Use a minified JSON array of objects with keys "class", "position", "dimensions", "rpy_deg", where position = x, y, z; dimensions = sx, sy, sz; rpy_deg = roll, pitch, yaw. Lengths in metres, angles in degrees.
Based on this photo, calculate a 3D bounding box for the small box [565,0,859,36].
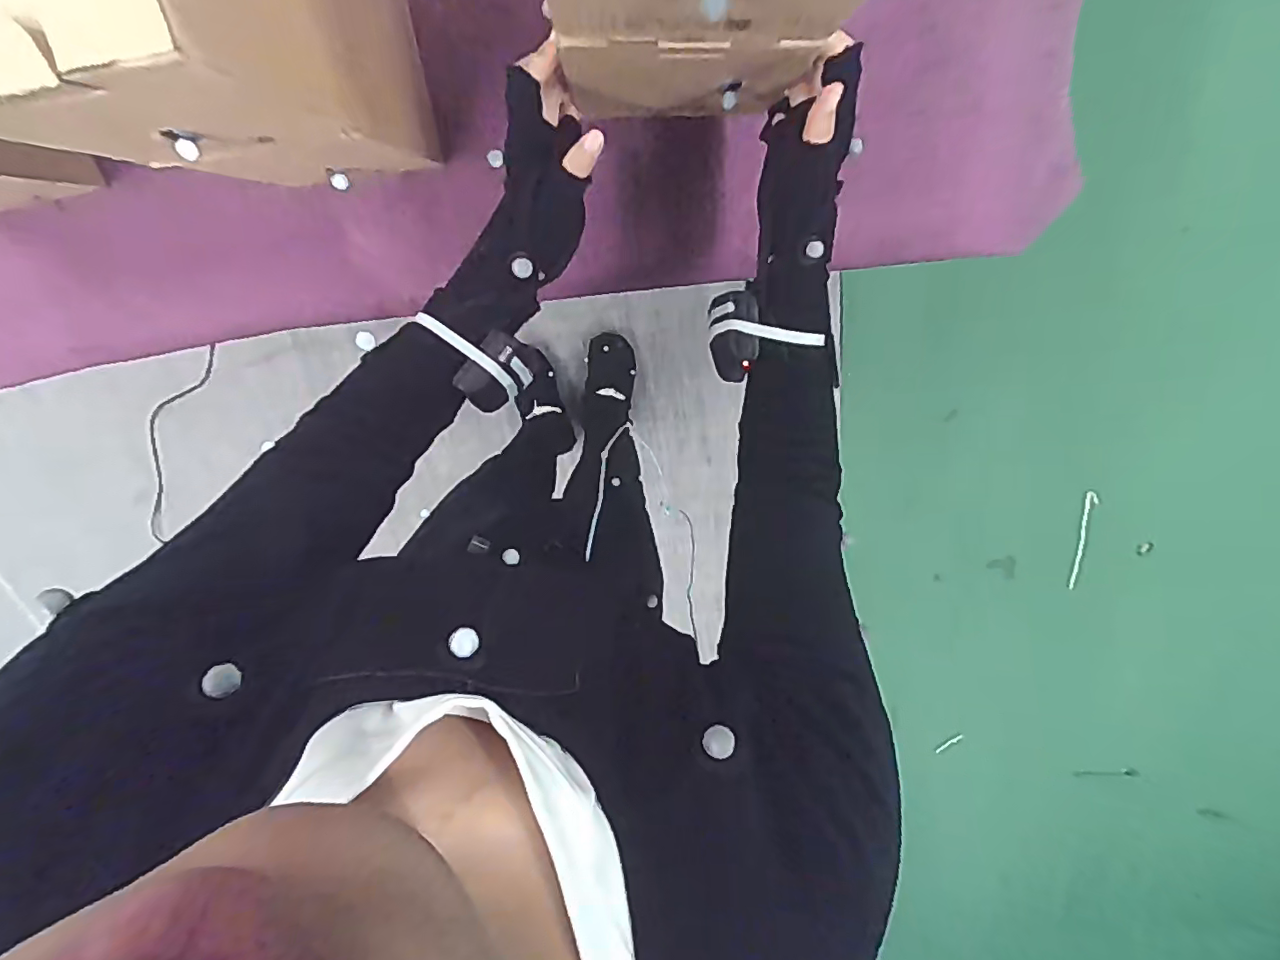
[{"class":"small box","position":[0.038,-0.304,0.209],"dimensions":[0.168,0.176,0.179],"rpy_deg":[-1,114,-3]}]

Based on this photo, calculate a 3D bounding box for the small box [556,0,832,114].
[{"class":"small box","position":[0.032,-0.364,0.363],"dimensions":[0.168,0.176,0.179],"rpy_deg":[-1,113,-2]}]

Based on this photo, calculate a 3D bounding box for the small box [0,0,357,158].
[{"class":"small box","position":[-0.286,-0.287,0.280],"dimensions":[0.168,0.176,0.179],"rpy_deg":[-6,114,4]}]

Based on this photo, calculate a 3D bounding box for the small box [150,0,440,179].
[{"class":"small box","position":[-0.283,-0.353,0.430],"dimensions":[0.168,0.176,0.179],"rpy_deg":[-5,115,4]}]
